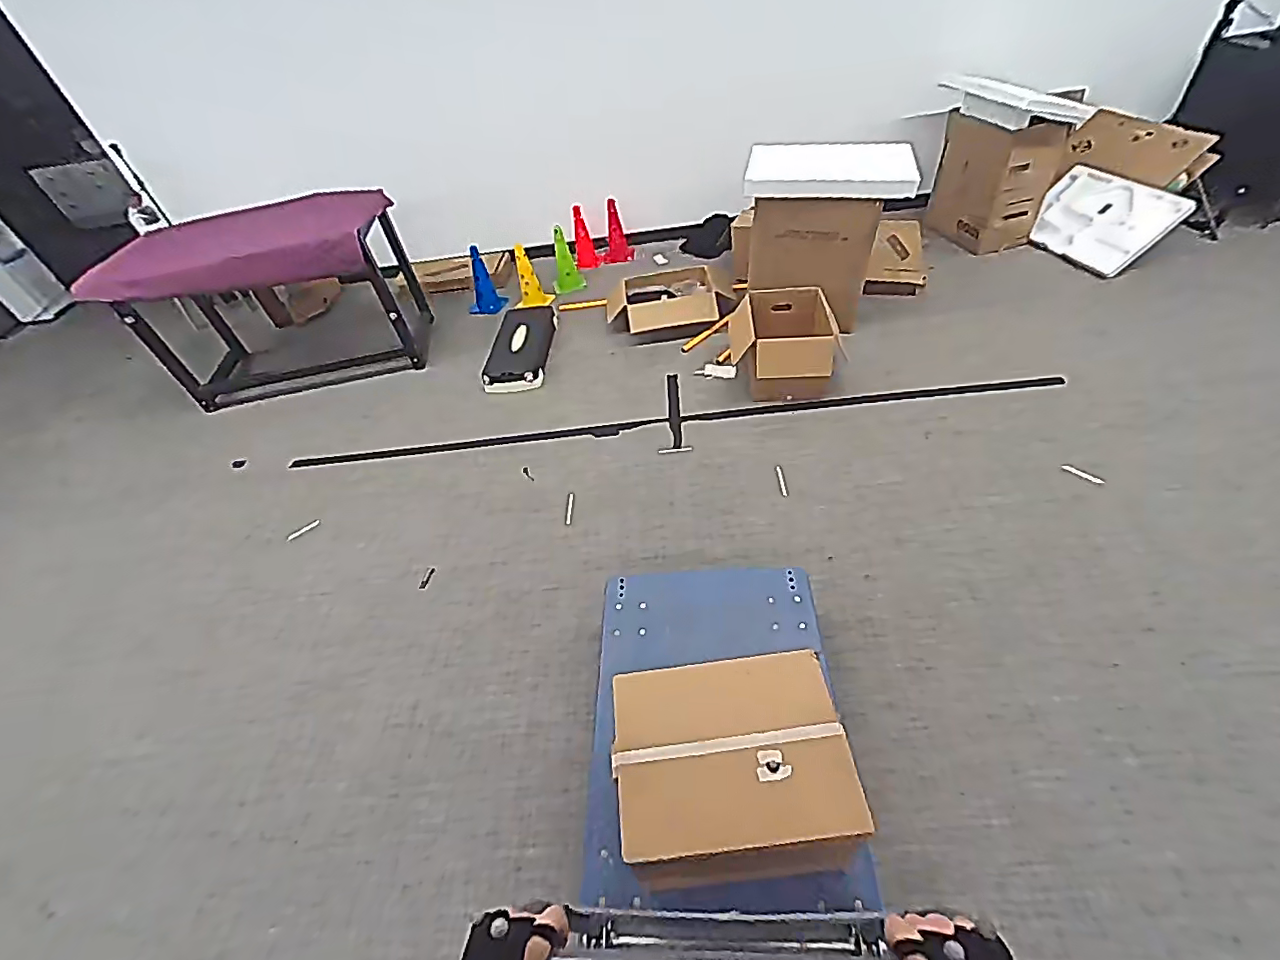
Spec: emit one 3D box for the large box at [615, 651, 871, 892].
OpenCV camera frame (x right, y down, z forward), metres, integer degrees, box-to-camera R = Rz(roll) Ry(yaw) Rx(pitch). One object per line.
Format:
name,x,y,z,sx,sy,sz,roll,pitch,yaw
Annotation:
large box,0.177,0.582,1.077,0.408,0.320,0.320,-8,46,0
